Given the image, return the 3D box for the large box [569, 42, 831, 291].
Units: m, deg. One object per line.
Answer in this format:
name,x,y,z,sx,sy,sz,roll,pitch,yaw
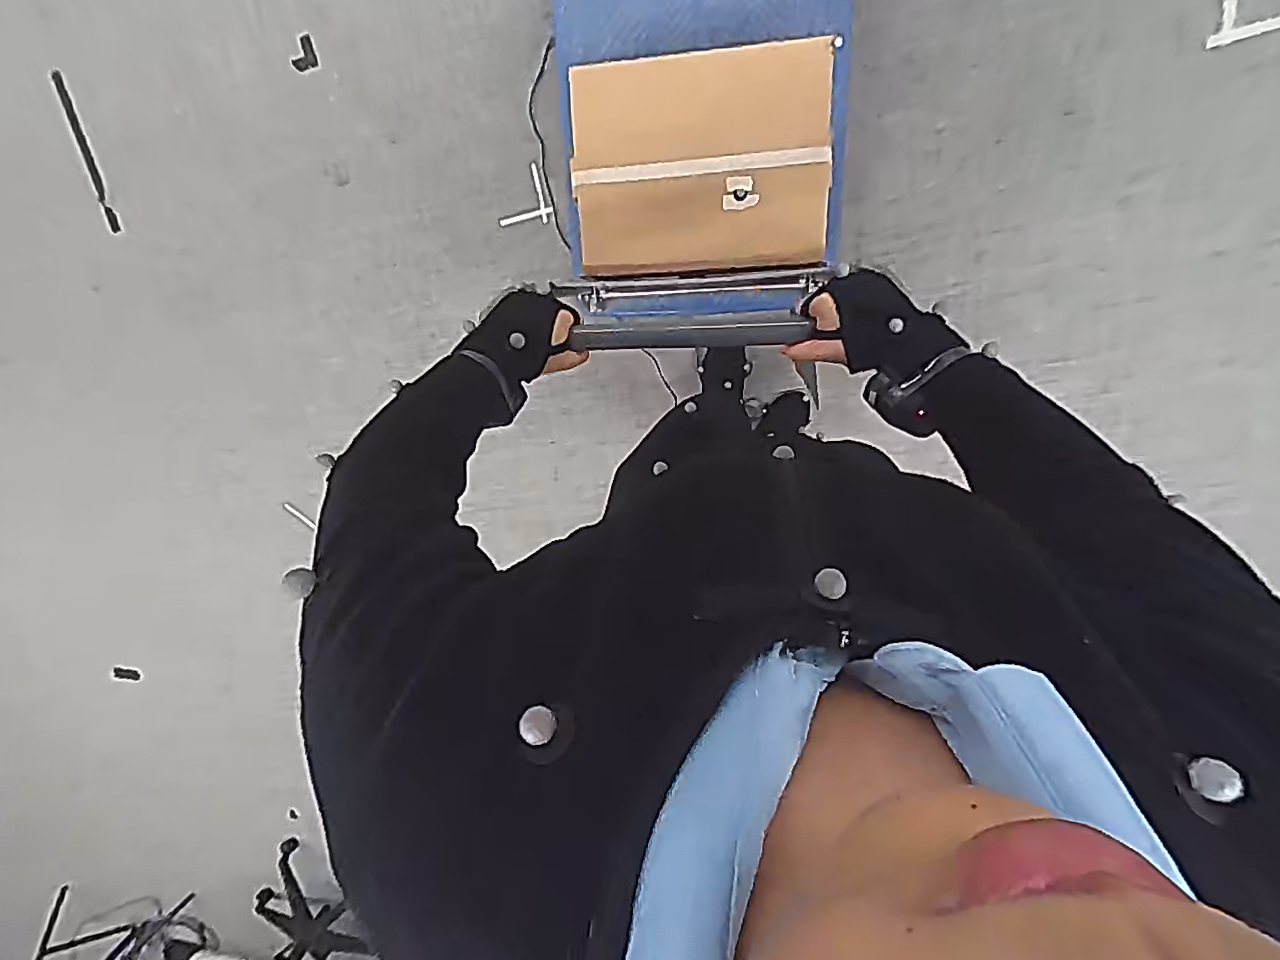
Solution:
large box,0.112,-0.532,1.003,0.408,0.320,0.320,-1,108,8
